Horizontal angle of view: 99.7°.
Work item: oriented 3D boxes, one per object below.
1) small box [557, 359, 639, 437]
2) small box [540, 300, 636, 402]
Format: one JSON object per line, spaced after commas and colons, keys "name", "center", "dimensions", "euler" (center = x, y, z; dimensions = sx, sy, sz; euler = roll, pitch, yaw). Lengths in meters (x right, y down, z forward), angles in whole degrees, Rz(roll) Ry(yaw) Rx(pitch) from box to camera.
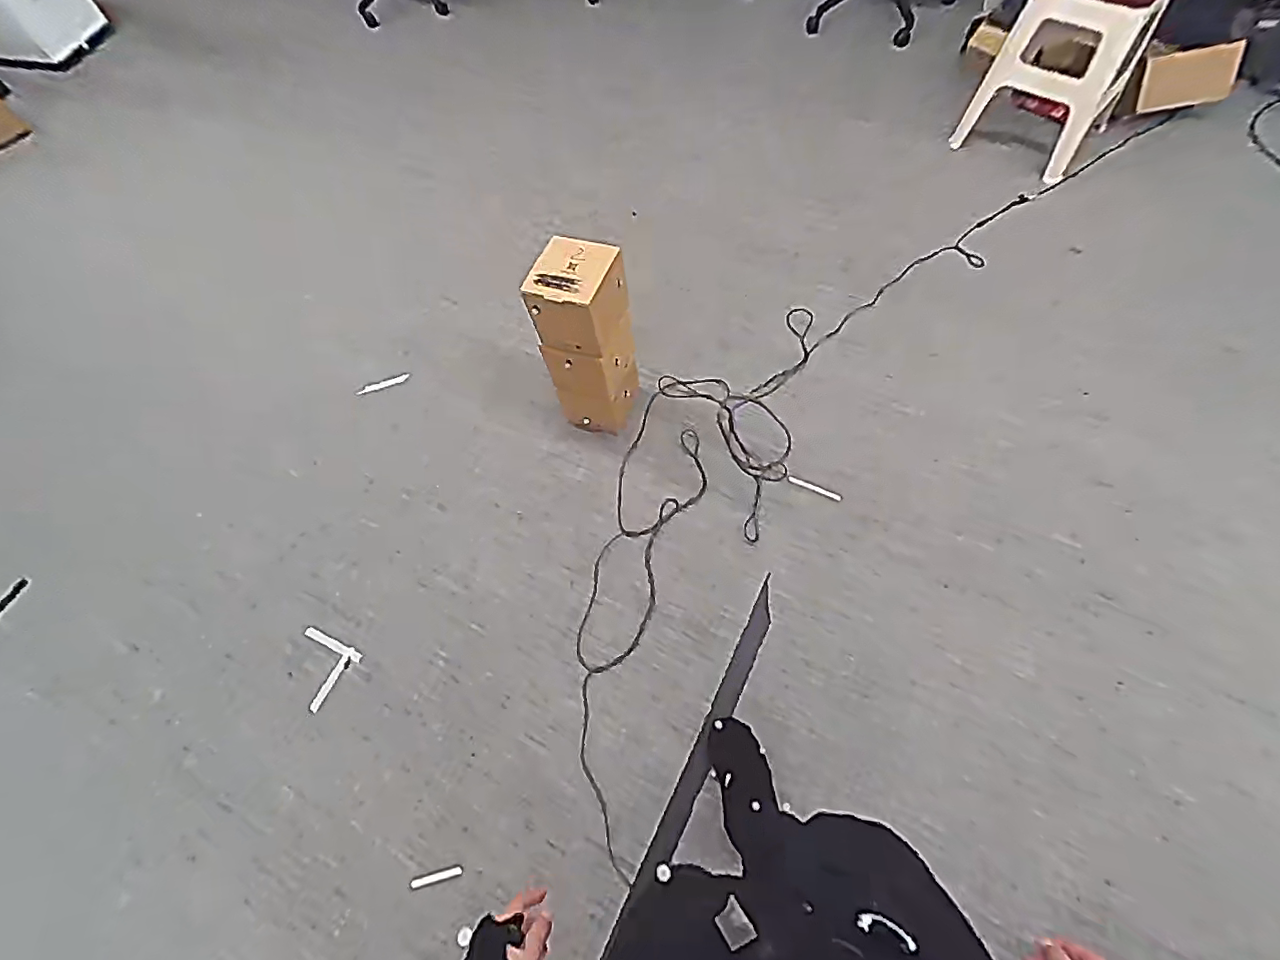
{"name": "small box", "center": [-0.108, -0.250, 1.511], "dimensions": [0.168, 0.176, 0.179], "euler": [16, 68, 15]}
{"name": "small box", "center": [-0.122, -0.320, 1.366], "dimensions": [0.179, 0.176, 0.168], "euler": [18, 68, 16]}
